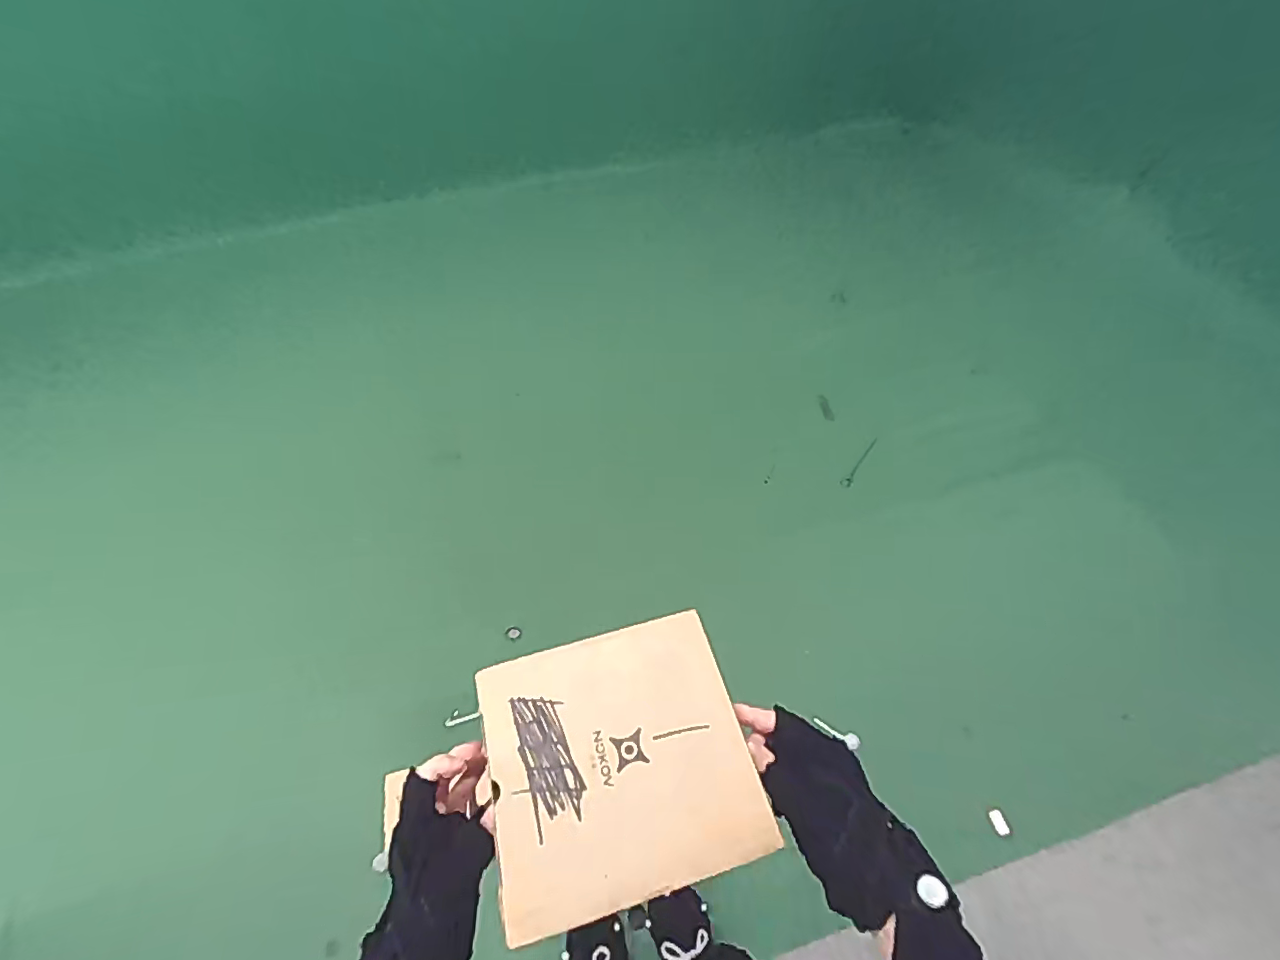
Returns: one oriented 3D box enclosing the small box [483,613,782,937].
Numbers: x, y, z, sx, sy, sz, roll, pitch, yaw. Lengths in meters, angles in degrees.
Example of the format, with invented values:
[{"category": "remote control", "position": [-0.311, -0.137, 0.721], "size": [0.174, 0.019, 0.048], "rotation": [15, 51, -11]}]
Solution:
[{"category": "small box", "position": [-0.013, 0.234, 0.434], "size": [0.179, 0.176, 0.168], "rotation": [-12, 54, -10]}]
